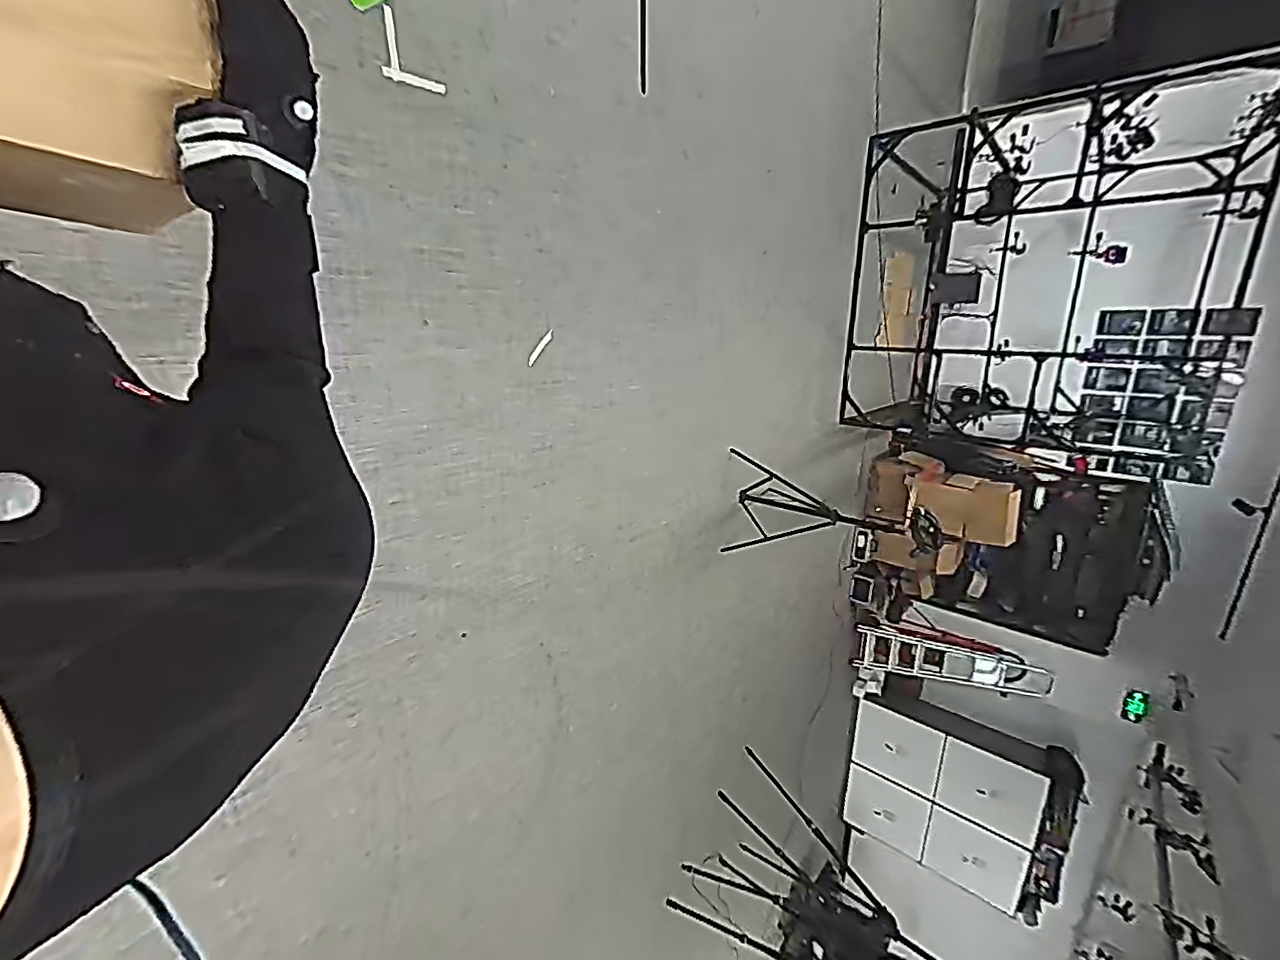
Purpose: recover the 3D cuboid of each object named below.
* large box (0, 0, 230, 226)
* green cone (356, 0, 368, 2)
[{"bbox_3d":[-0.561,-0.385,0.341,0.408,0.320,0.320,-10,108,-51],"label":"large box"},{"bbox_3d":[-0.524,-1.226,1.151,0.202,0.368,0.200,-57,139,-26],"label":"green cone"}]
